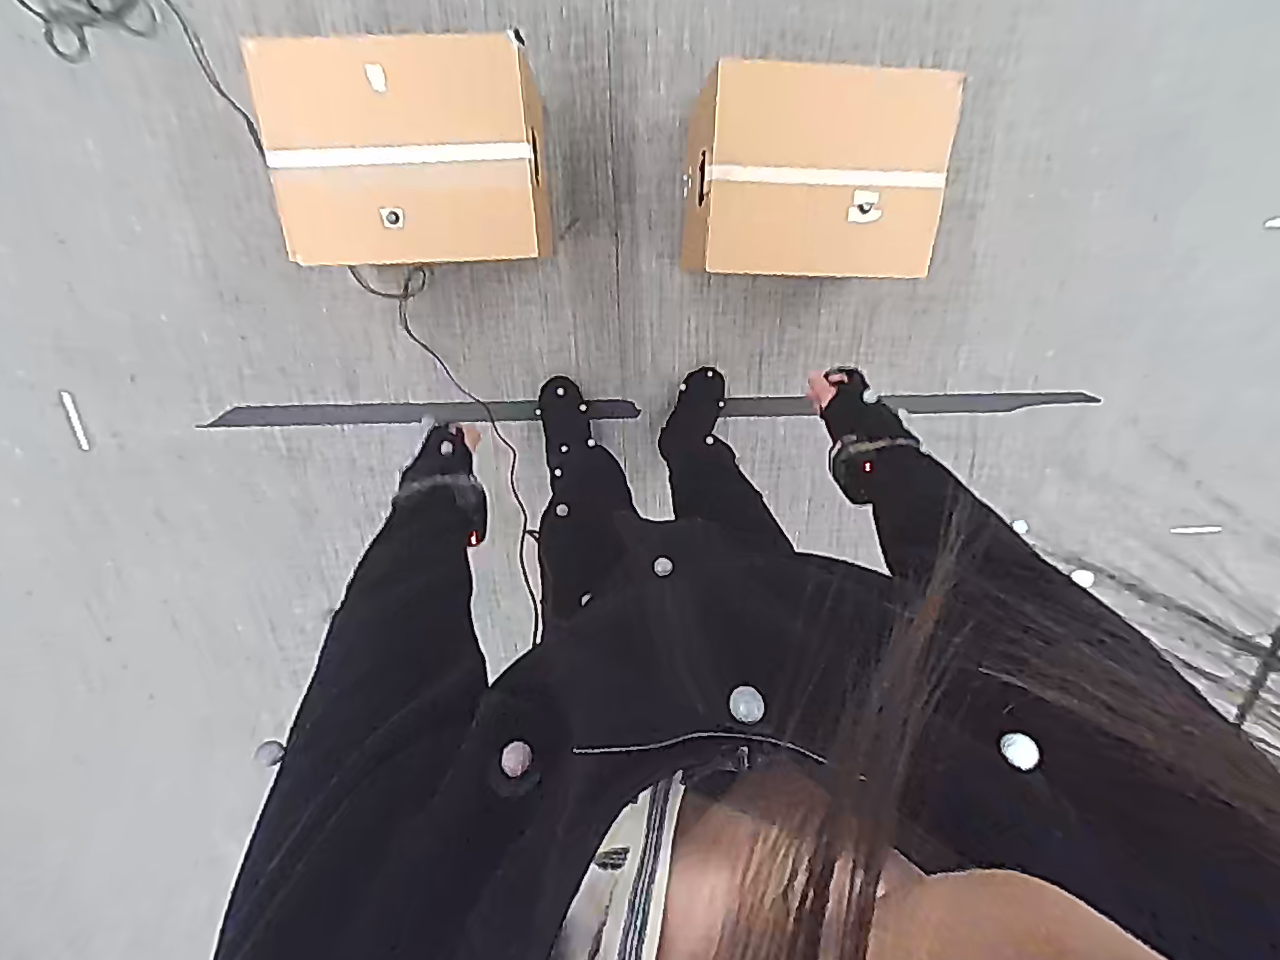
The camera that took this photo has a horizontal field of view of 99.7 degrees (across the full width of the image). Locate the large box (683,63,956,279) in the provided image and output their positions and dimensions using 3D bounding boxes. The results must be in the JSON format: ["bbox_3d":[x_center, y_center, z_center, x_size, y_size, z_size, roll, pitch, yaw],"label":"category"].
[{"bbox_3d":[0.305,-0.563,1.057,0.408,0.320,0.320,0,110,-5],"label":"large box"}]
